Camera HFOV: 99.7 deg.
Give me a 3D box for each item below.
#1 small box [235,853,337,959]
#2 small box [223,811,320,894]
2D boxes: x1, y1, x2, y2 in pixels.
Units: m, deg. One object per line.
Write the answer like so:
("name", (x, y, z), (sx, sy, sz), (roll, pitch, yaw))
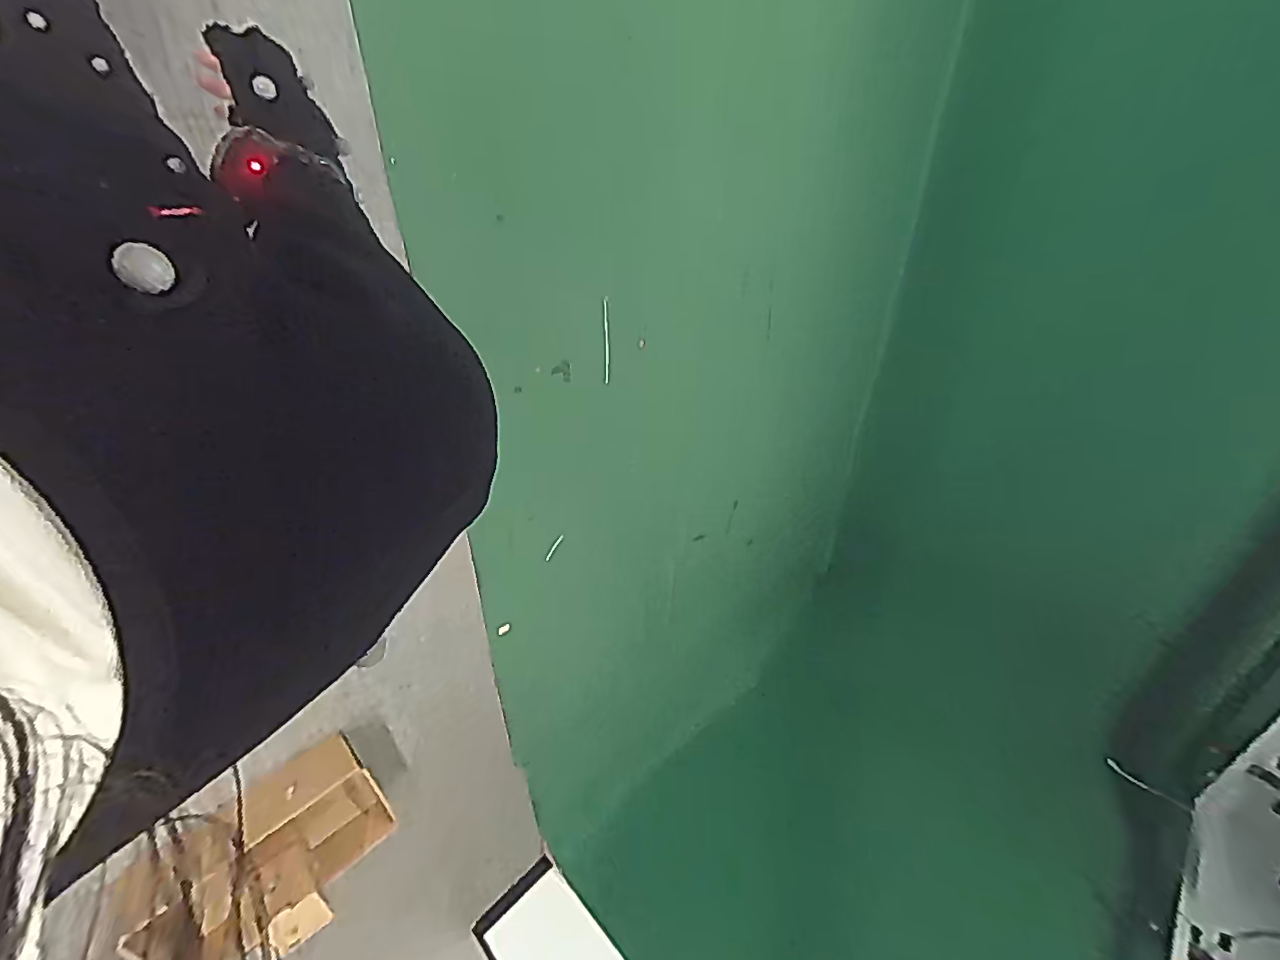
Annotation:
("small box", (-0.977, 1.181, 1.490), (0.168, 0.176, 0.179), (-29, 131, -37))
("small box", (-1.088, 1.124, 1.596), (0.168, 0.176, 0.179), (-31, 134, -35))
